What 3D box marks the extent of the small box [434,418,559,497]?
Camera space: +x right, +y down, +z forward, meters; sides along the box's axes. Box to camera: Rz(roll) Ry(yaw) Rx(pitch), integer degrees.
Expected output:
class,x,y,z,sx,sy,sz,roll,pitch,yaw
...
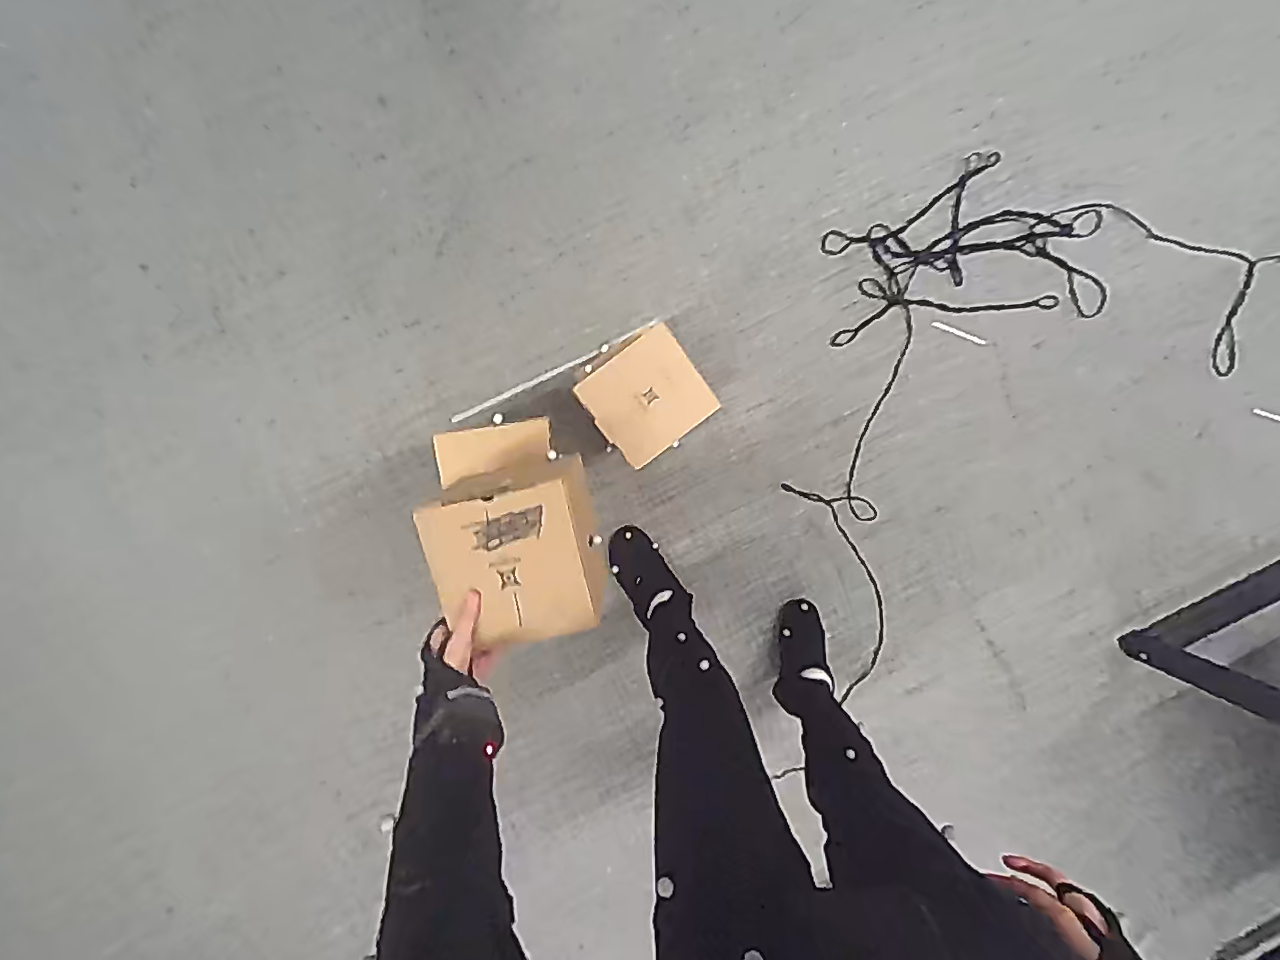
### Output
class,x,y,z,sx,sy,sz,roll,pitch,yaw
small box,-0.227,-0.011,0.916,0.179,0.176,0.168,-10,98,-6

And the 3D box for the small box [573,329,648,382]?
class,x,y,z,sx,sy,sz,roll,pitch,yaw
small box,-0.017,-0.177,1.081,0.168,0.176,0.179,-33,100,-1

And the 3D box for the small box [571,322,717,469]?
class,x,y,z,sx,sy,sz,roll,pitch,yaw
small box,0.001,-0.140,0.922,0.179,0.176,0.168,-37,101,0

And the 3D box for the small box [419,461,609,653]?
class,x,y,z,sx,sy,sz,roll,pitch,yaw
small box,-0.138,0.080,0.660,0.168,0.176,0.179,-11,102,3
